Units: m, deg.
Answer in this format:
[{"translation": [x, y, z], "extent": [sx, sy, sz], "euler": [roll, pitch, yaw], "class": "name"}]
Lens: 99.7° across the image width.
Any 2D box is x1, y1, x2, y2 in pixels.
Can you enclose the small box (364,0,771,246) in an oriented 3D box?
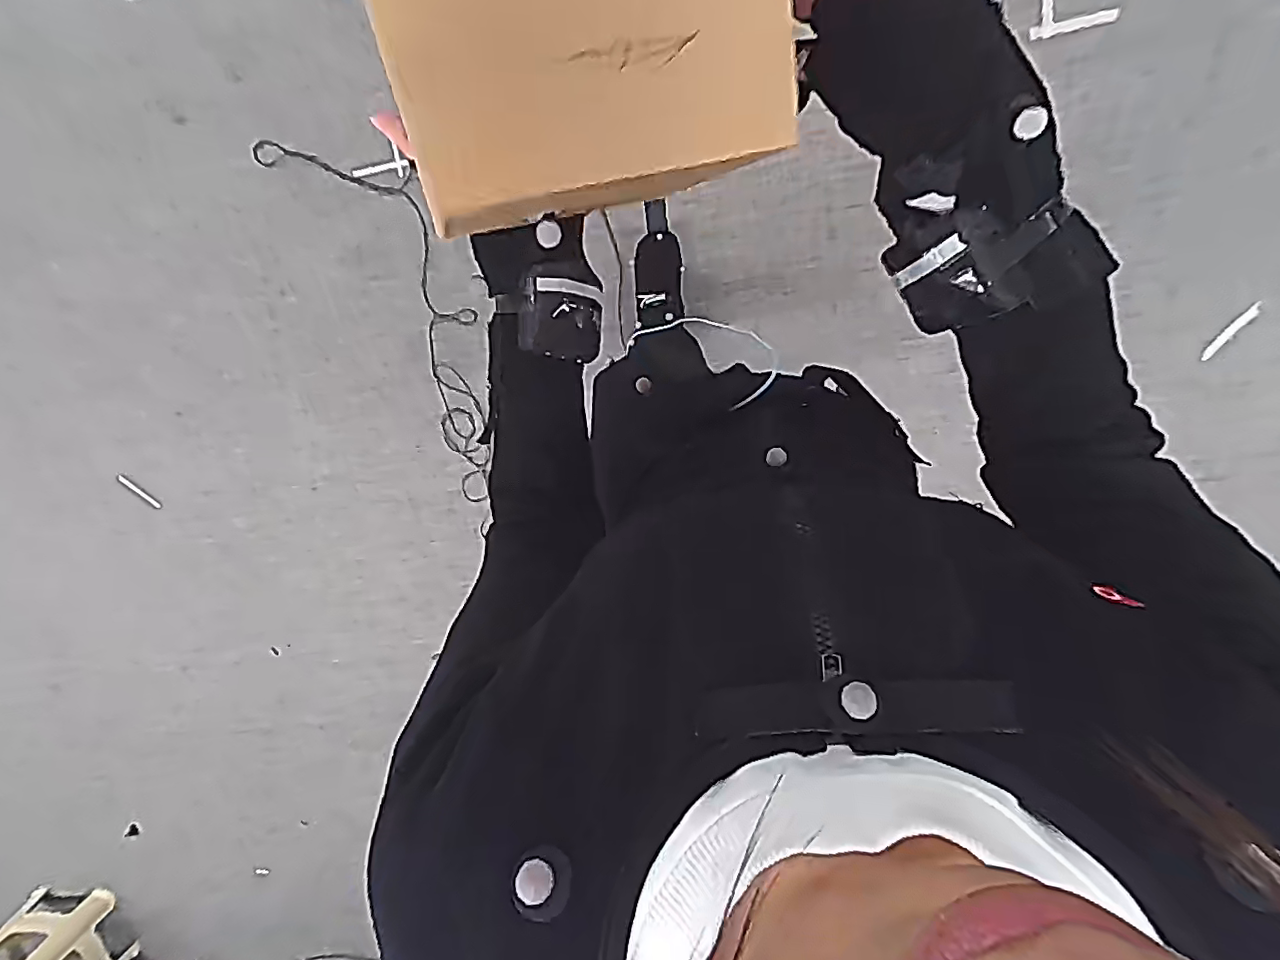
[{"translation": [-0.052, -0.236, 0.285], "extent": [0.168, 0.176, 0.179], "euler": [-17, 114, -11], "class": "small box"}]
